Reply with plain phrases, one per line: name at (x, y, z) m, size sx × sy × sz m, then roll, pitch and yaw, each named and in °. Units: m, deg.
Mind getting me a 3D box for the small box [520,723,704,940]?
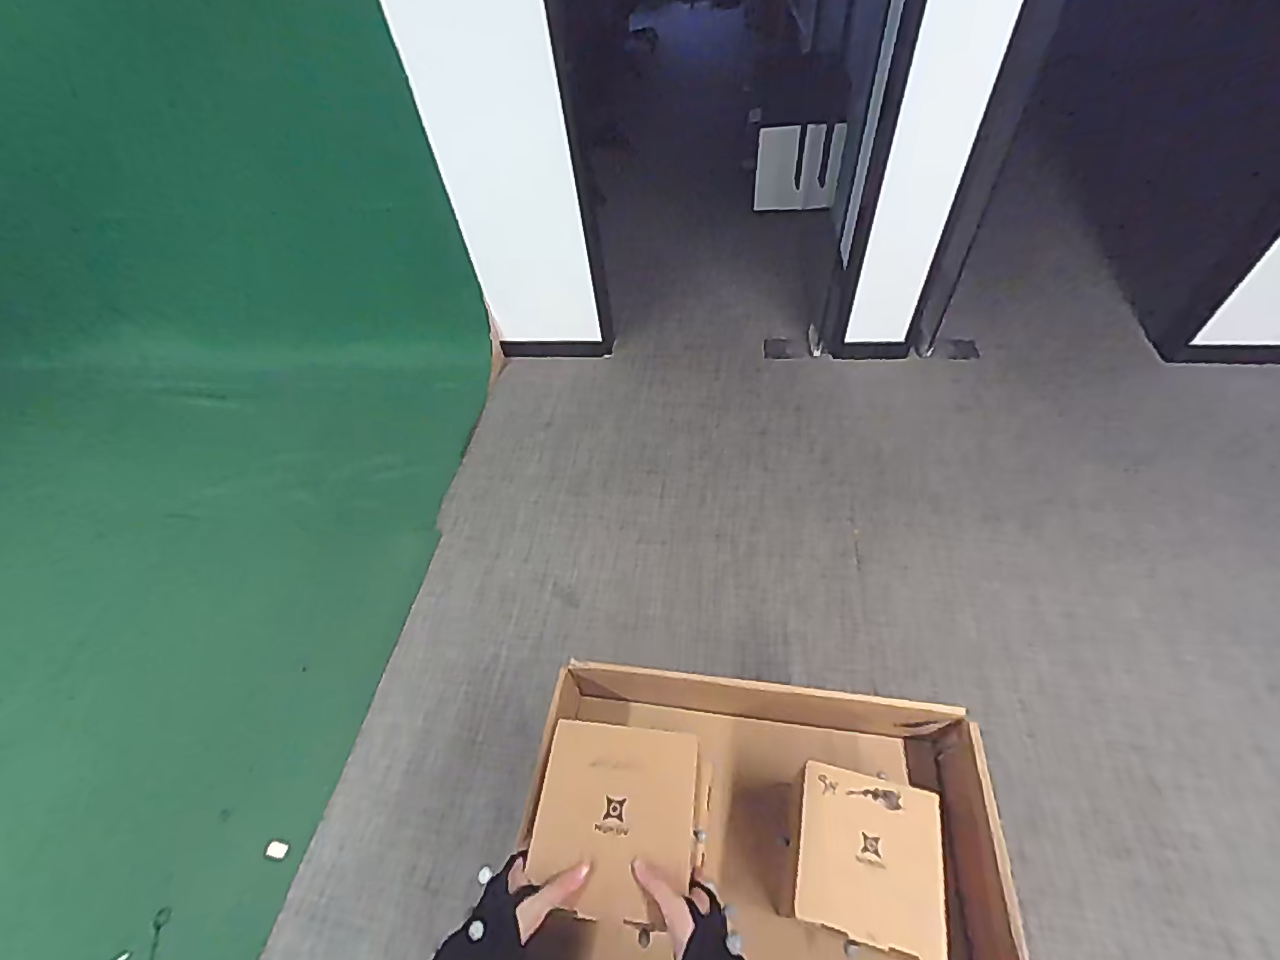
small box at (-0.016, 0.404, 0.623) m, size 0.168 × 0.176 × 0.179 m, roll 2°, pitch 50°, yaw 11°
